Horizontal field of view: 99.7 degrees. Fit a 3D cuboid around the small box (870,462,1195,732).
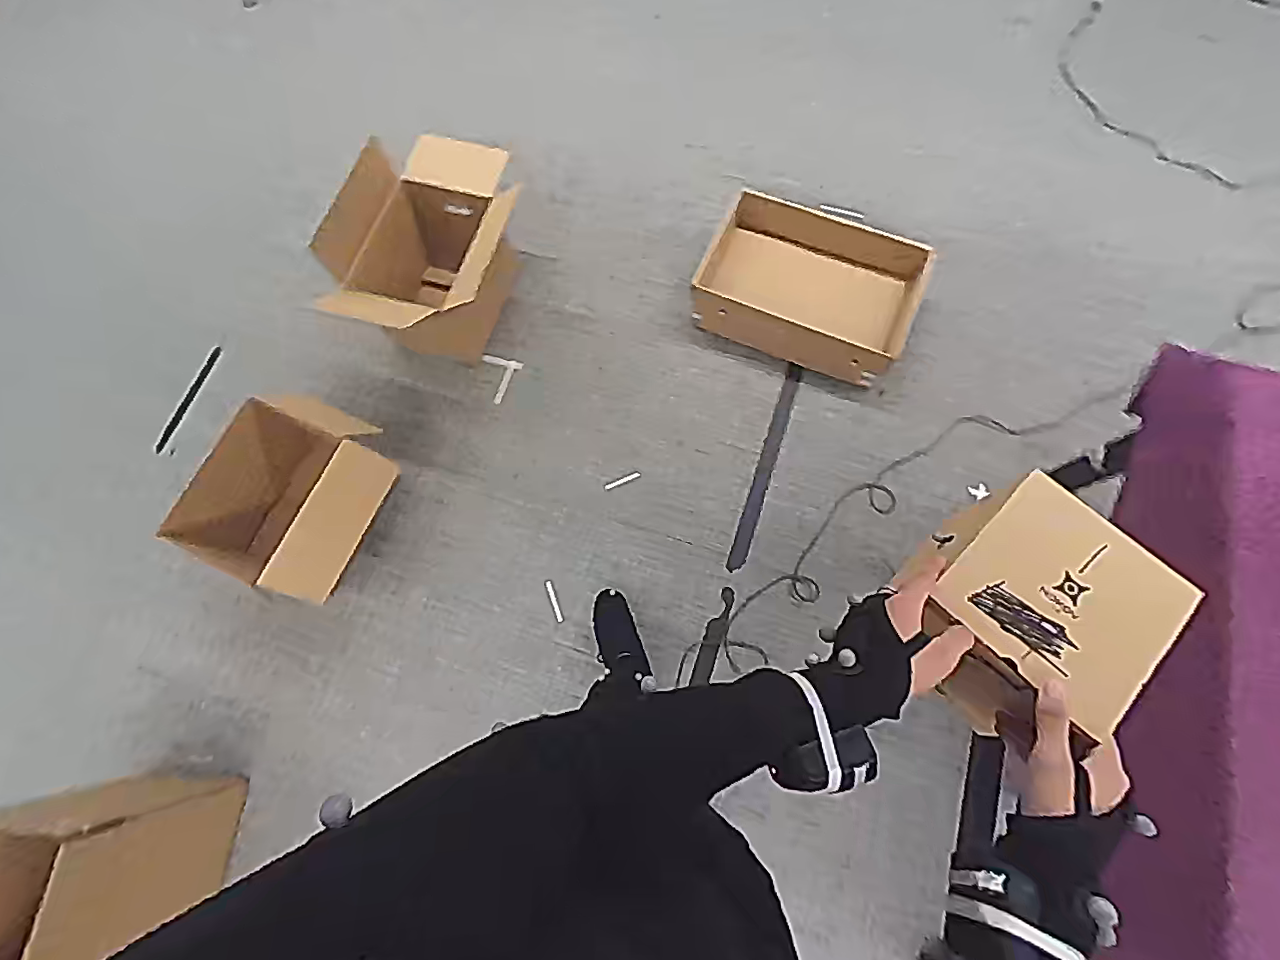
[{"bbox_3d":[0.359,0.121,0.537,0.179,0.176,0.168,-41,73,-15],"label":"small box"}]
